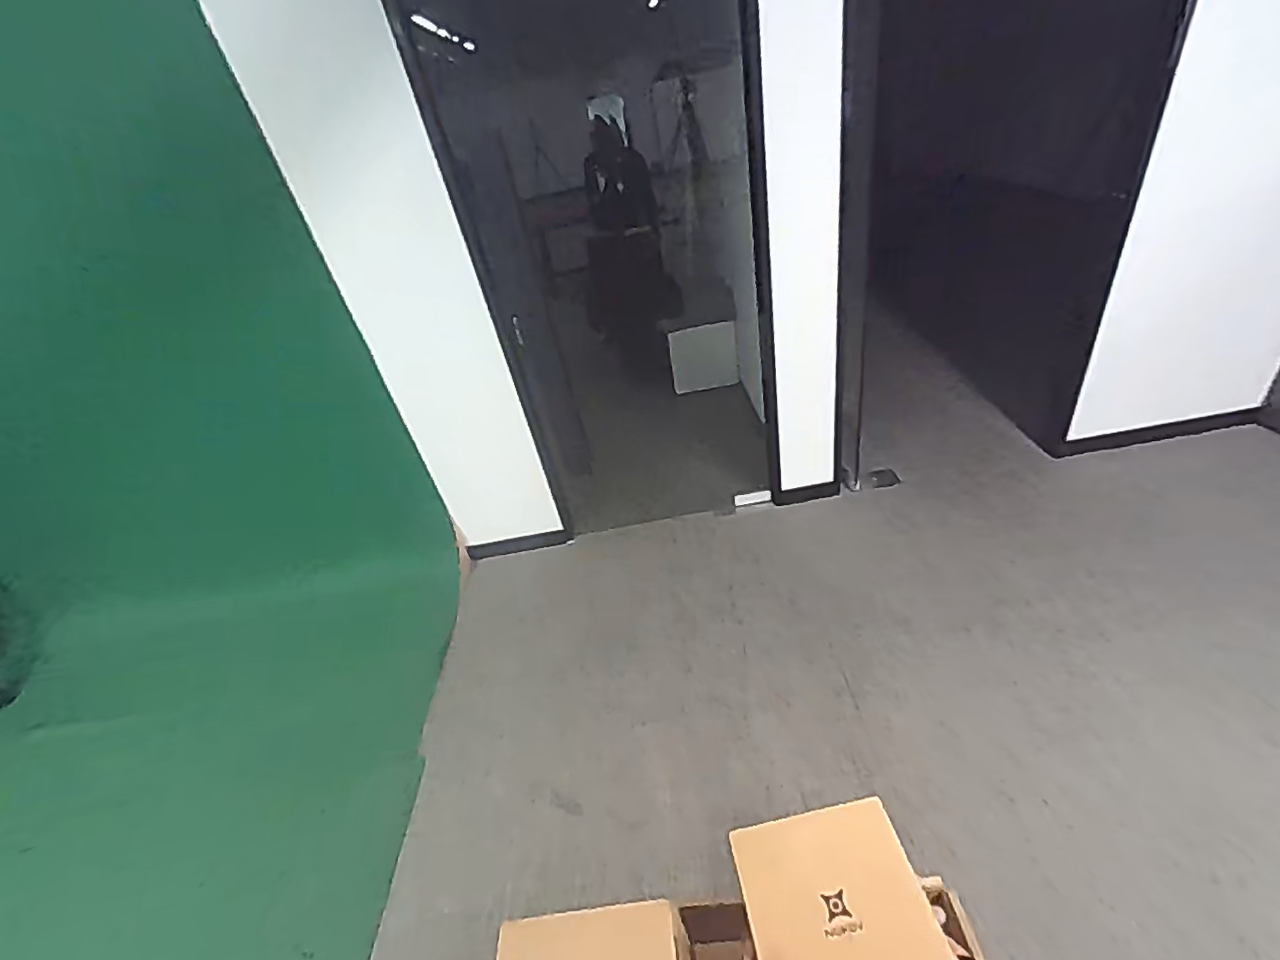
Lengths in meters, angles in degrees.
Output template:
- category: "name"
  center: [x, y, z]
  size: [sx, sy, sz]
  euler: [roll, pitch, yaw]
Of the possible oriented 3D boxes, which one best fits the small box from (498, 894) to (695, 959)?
- category: "small box"
  center: [-0.032, 0.523, 0.505]
  size: [0.179, 0.176, 0.168]
  euler: [-10, 34, 4]
